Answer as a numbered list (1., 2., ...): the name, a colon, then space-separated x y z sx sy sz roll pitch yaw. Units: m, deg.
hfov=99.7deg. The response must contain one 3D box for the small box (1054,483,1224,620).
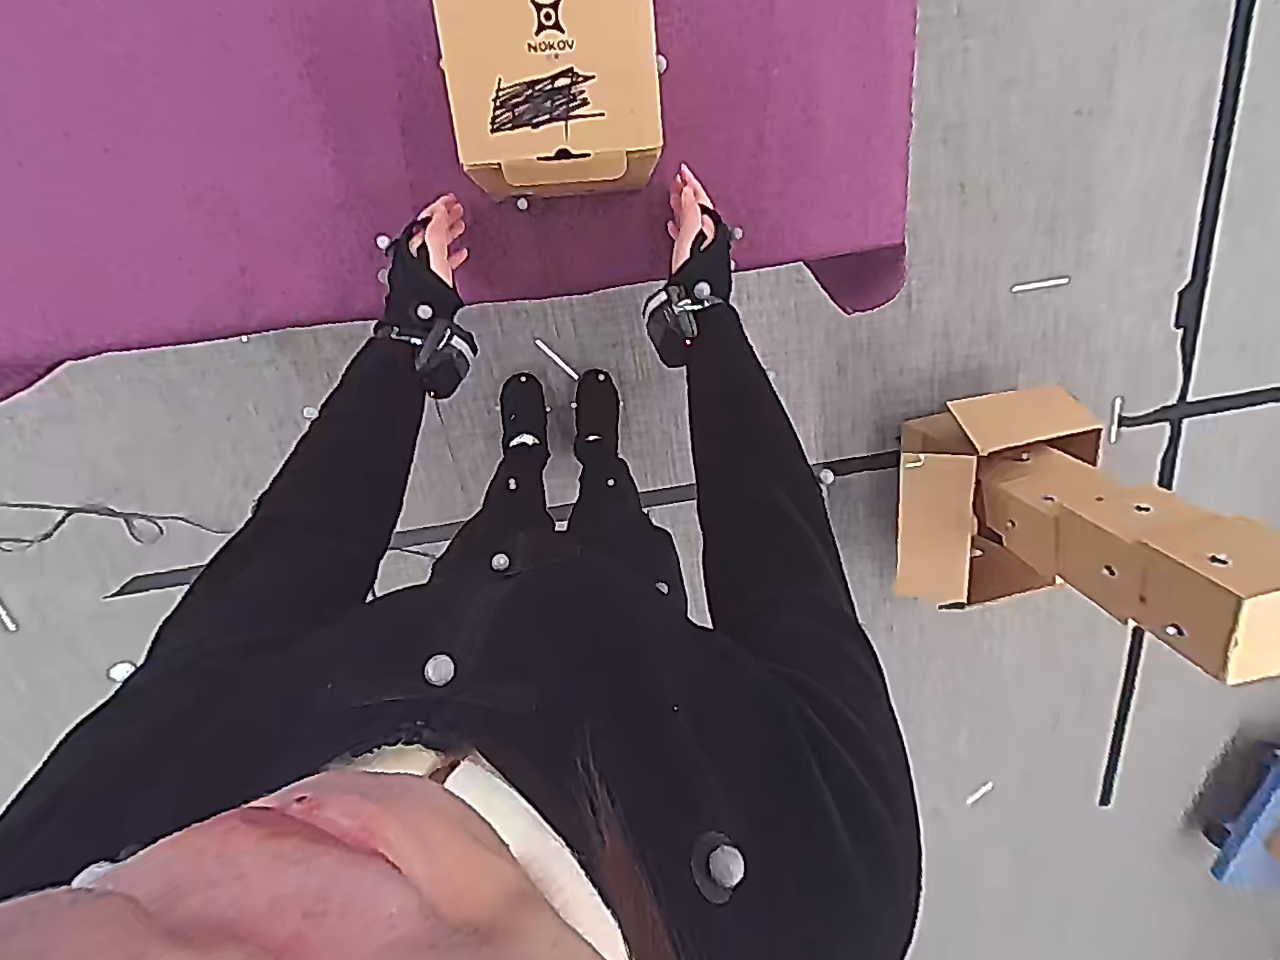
1. small box: 0.903 0.121 0.993 0.168 0.176 0.179 -15 114 4

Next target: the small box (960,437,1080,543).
1. small box: 0.911 0.014 1.306 0.168 0.176 0.179 -29 113 8

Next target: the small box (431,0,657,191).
1. small box: -0.078 -0.369 0.484 0.168 0.176 0.179 -6 109 -4

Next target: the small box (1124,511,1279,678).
1. small box: 0.908 0.169 0.836 0.179 0.176 0.168 -15 114 3
